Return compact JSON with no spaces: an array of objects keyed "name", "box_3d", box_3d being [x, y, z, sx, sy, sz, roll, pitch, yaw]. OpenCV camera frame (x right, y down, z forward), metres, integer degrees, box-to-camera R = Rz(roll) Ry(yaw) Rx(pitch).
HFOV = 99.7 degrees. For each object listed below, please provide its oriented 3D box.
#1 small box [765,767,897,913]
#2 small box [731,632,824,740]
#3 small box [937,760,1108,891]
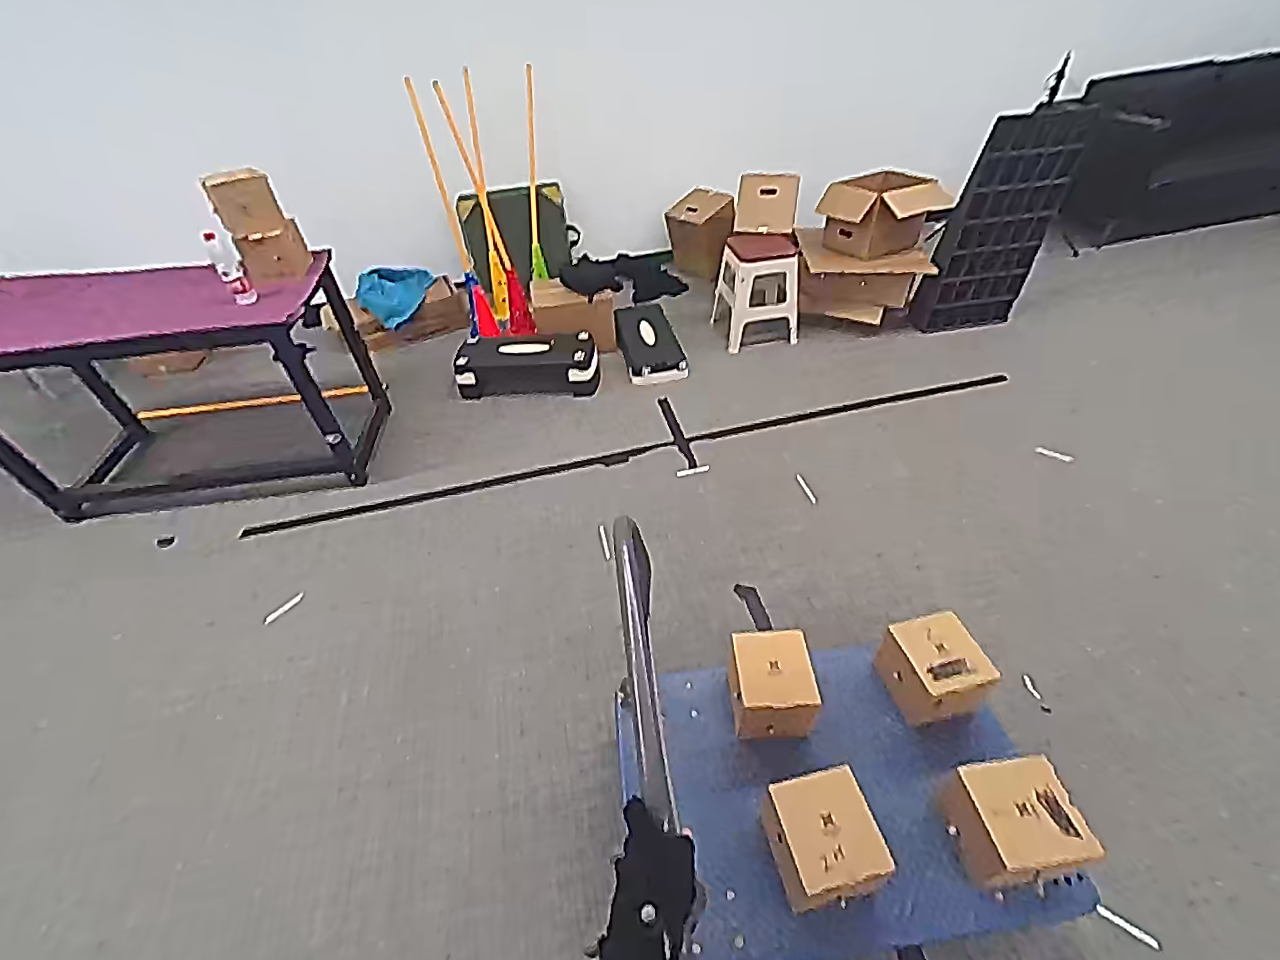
[{"name":"small box","box_3d":[0.346,0.680,1.022,0.168,0.176,0.179,-11,43,-6]},{"name":"small box","box_3d":[0.306,0.473,1.246,0.168,0.176,0.179,-4,43,1]},{"name":"small box","box_3d":[0.704,0.653,1.021,0.179,0.176,0.168,-7,43,-1]}]
